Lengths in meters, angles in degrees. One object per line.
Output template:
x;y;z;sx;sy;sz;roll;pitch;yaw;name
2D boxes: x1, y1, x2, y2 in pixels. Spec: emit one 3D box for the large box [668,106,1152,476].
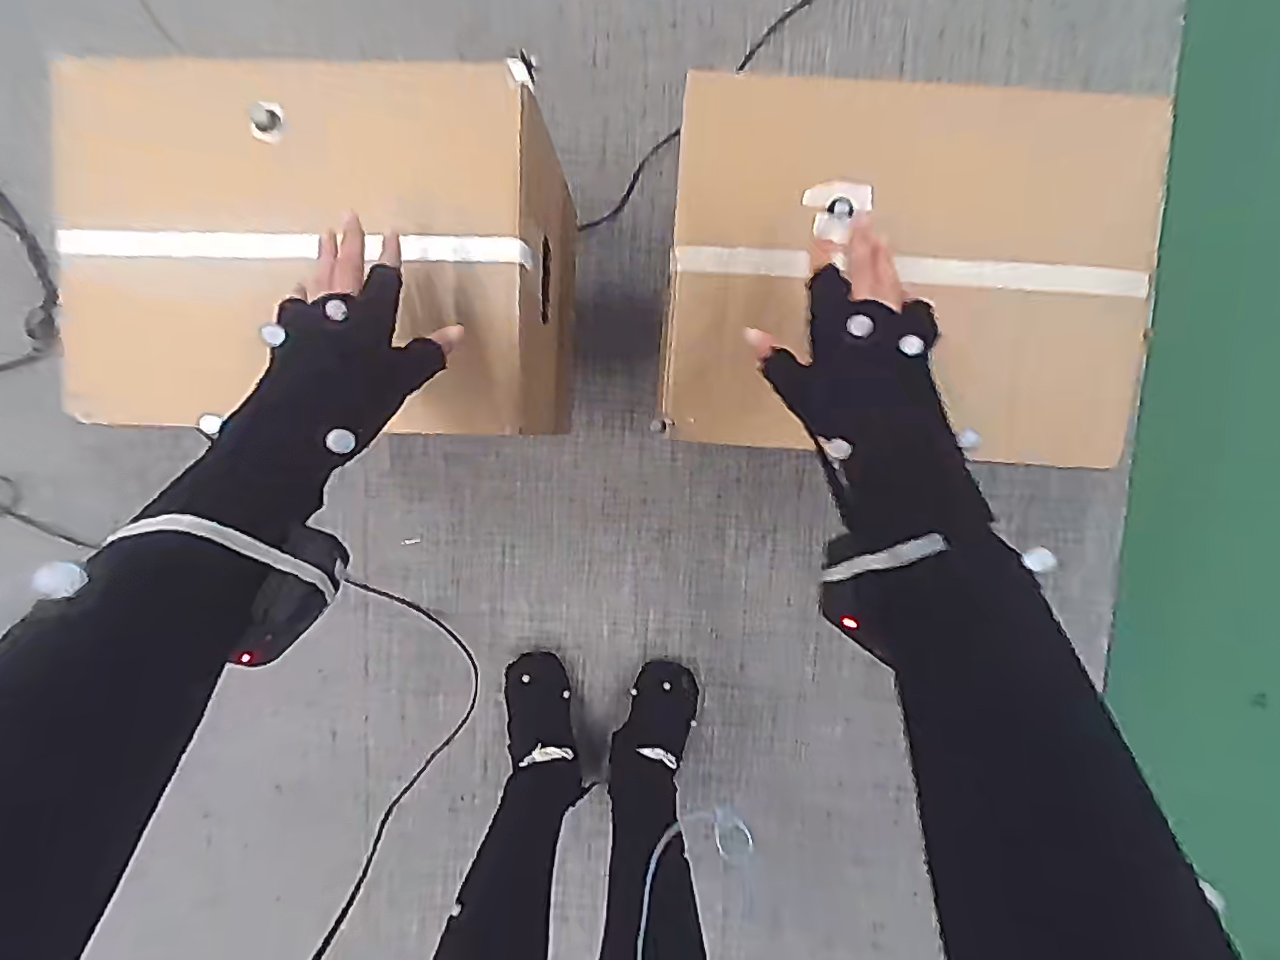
0.245;-0.184;0.638;0.408;0.320;0.320;5;95;1;large box
